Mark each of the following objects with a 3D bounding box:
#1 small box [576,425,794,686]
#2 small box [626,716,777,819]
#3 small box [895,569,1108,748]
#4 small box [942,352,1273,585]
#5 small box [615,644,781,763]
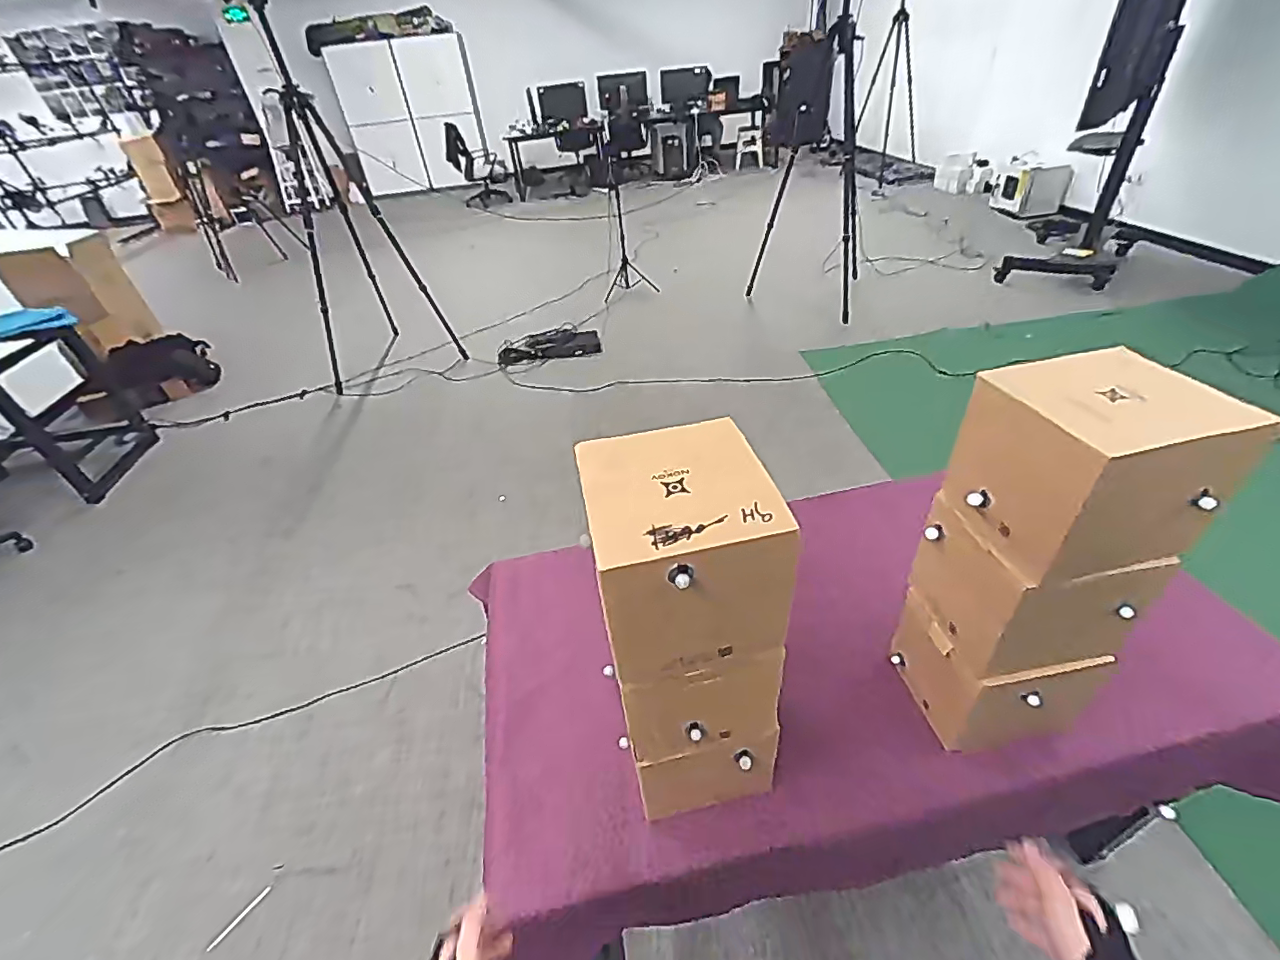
[{"bbox_3d":[0.035,0.070,0.537,0.168,0.176,0.179,-11,38,-5],"label":"small box"},{"bbox_3d":[0.070,0.327,0.737,0.179,0.176,0.168,-12,38,-5],"label":"small box"},{"bbox_3d":[0.486,0.253,0.764,0.179,0.176,0.168,-9,39,-4],"label":"small box"},{"bbox_3d":[0.463,-0.014,0.574,0.179,0.176,0.168,-11,38,-5],"label":"small box"},{"bbox_3d":[0.051,0.197,0.640,0.168,0.176,0.179,-11,39,-6],"label":"small box"}]
